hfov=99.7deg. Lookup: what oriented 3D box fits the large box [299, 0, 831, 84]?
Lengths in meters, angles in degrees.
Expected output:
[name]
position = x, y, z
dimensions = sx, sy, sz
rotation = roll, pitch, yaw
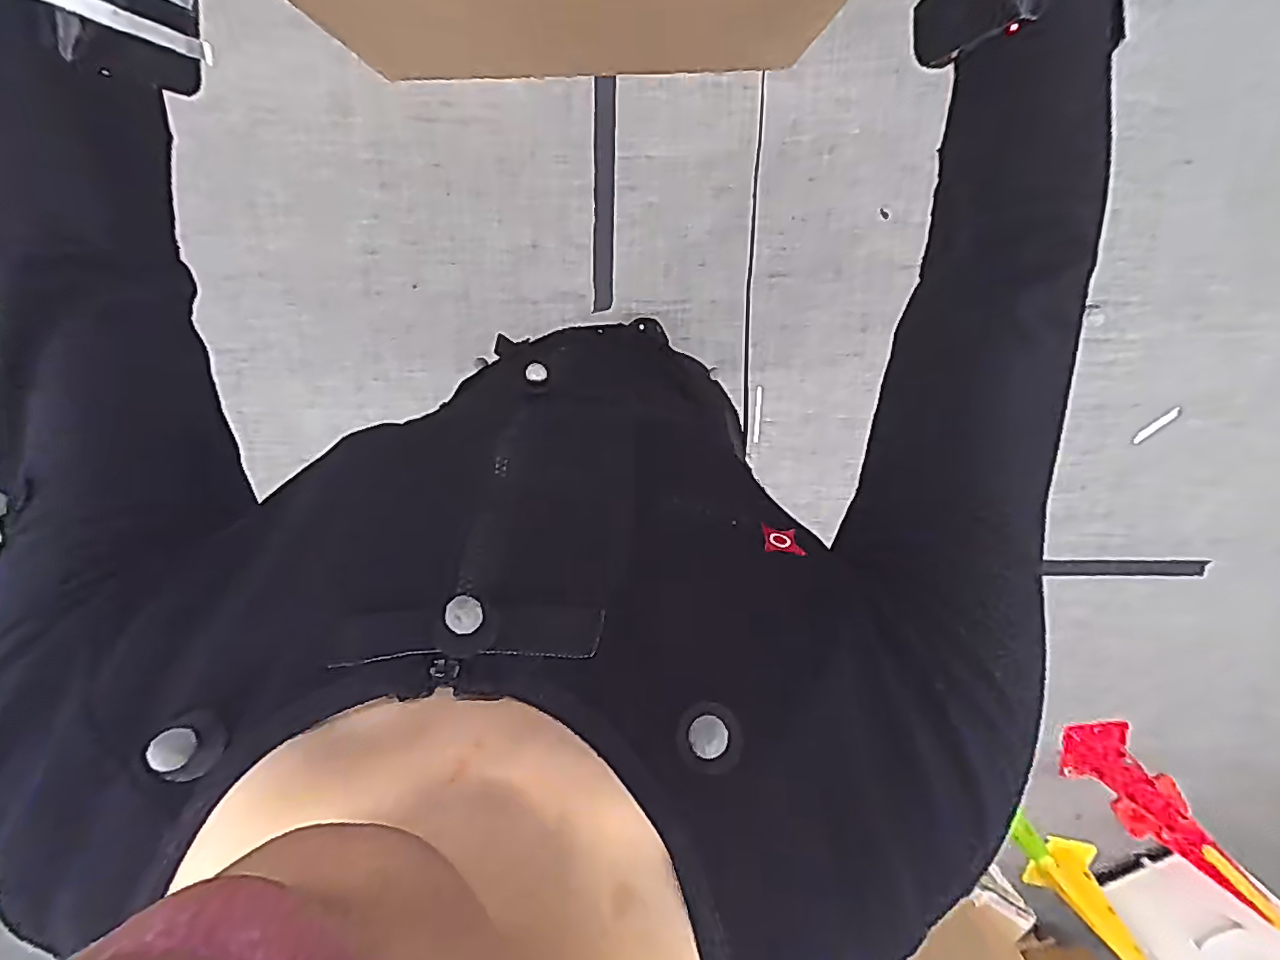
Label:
[large box]
position = -0.053, -0.493, 0.346
dimensions = 0.408, 0.320, 0.320
rotation = -3, 112, -1
